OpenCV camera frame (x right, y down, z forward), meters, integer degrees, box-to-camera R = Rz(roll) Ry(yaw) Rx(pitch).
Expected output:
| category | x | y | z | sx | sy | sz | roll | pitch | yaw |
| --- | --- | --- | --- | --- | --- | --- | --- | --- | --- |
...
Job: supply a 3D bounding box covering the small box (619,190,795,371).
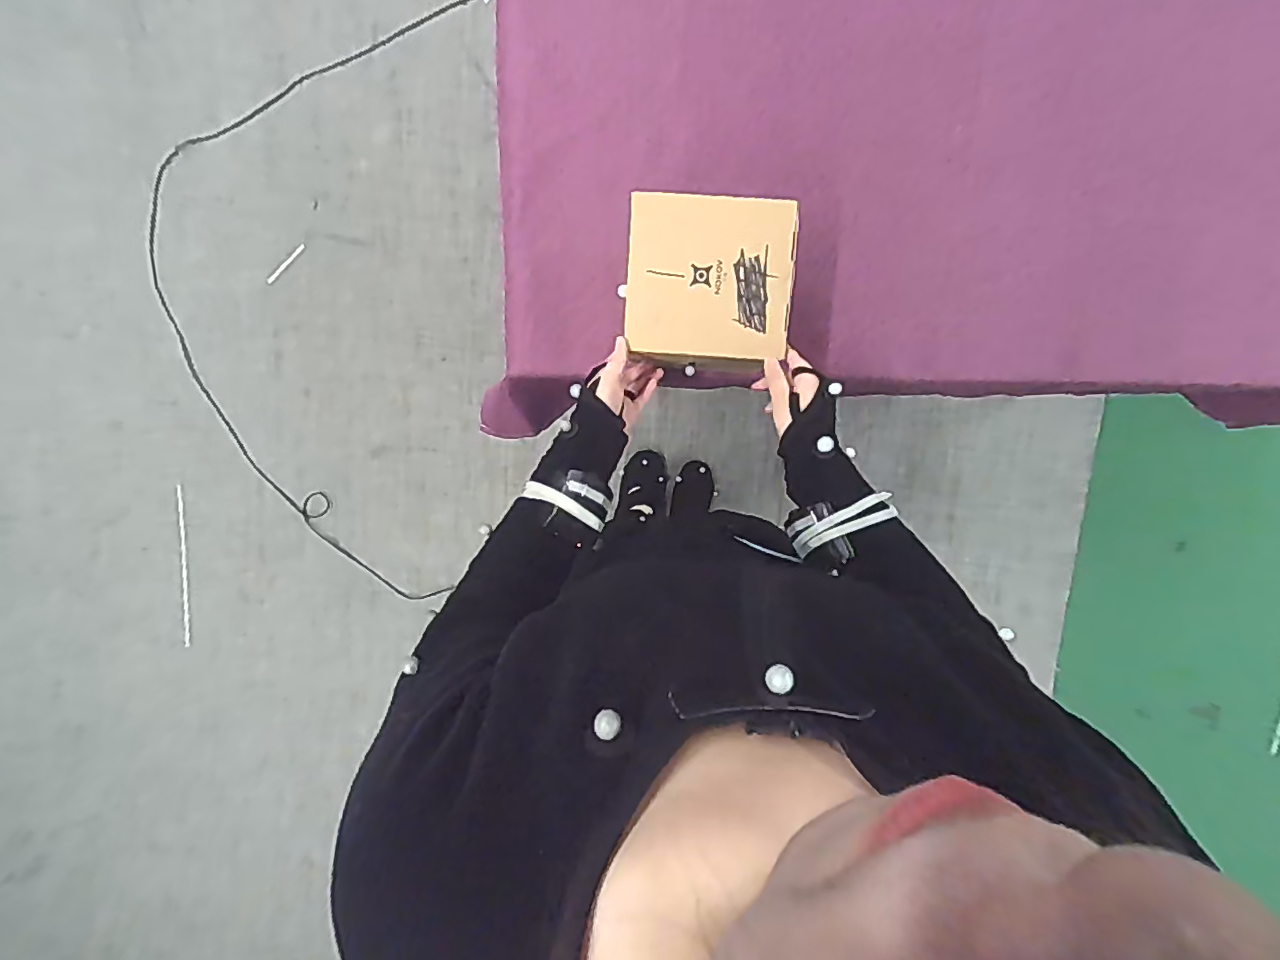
| category | x | y | z | sx | sy | sz | roll | pitch | yaw |
| --- | --- | --- | --- | --- | --- | --- | --- | --- | --- |
| small box | 0.071 | -0.224 | 0.651 | 0.179 | 0.176 | 0.168 | 4 | 96 | 1 |
